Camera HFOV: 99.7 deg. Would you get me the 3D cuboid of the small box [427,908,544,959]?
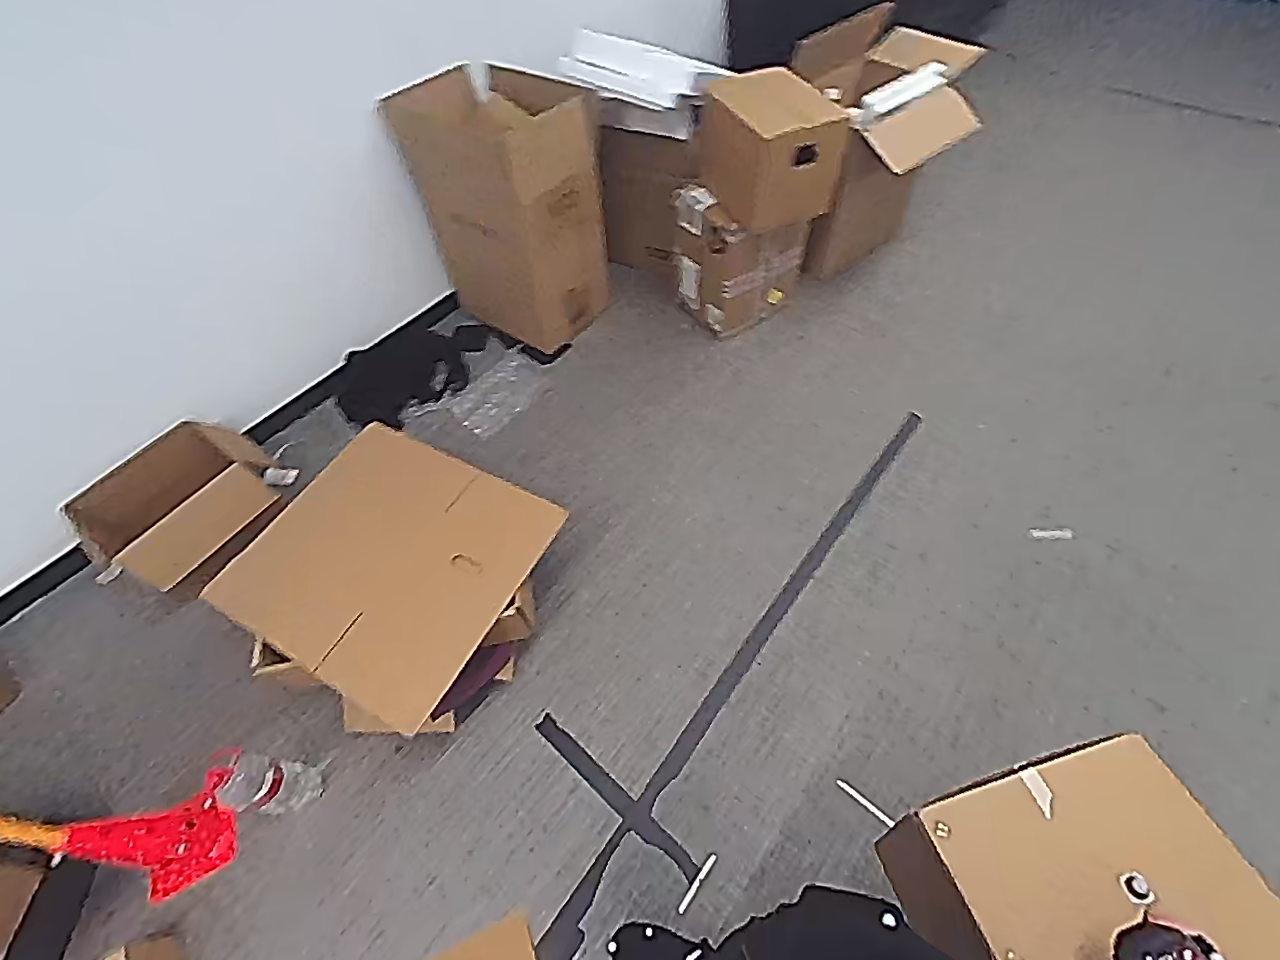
[{"bbox_3d":[-0.185,0.718,0.683,0.168,0.179,0.176,-14,95,-20],"label":"small box"}]
